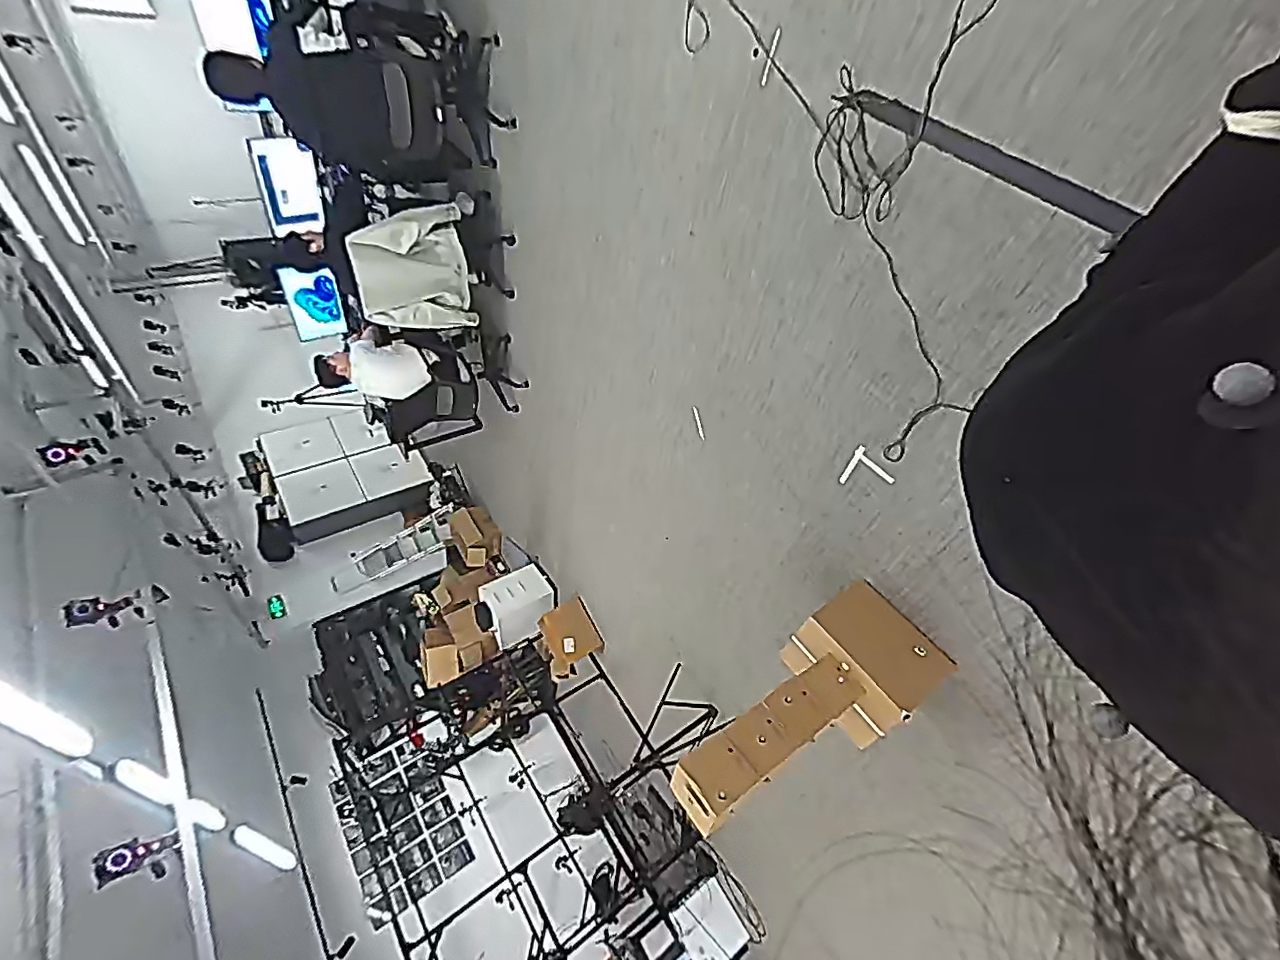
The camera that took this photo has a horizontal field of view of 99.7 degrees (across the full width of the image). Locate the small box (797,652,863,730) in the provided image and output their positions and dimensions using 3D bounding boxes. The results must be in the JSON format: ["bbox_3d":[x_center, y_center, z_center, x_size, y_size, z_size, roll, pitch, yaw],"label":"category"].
[{"bbox_3d":[0.605,0.708,1.794,0.168,0.176,0.179,48,144,30],"label":"small box"}]

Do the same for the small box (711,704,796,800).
[{"bbox_3d":[0.343,0.813,1.629,0.168,0.176,0.179,46,143,35],"label":"small box"}]

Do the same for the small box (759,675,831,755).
[{"bbox_3d":[0.473,0.754,1.711,0.168,0.176,0.179,48,145,32],"label":"small box"}]
